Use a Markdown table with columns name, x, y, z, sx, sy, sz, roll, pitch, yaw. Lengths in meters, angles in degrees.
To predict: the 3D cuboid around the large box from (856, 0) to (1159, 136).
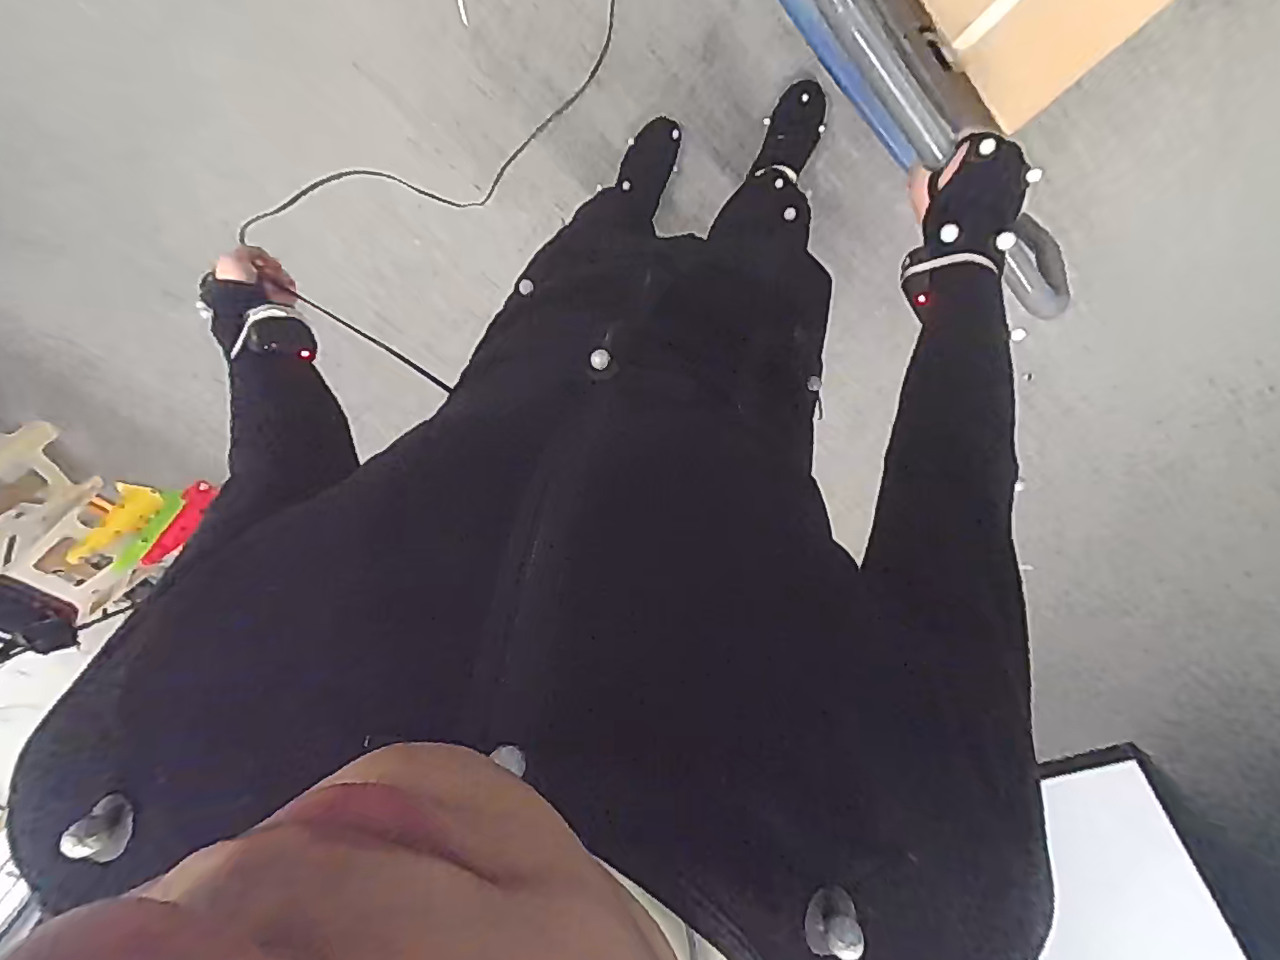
| name | x | y | z | sx | sy | sz | roll | pitch | yaw |
| --- | --- | --- | --- | --- | --- | --- | --- | --- | --- |
| large box | 0.576 | -0.799 | 0.775 | 0.320 | 0.320 | 0.408 | 37 | 125 | -21 |
